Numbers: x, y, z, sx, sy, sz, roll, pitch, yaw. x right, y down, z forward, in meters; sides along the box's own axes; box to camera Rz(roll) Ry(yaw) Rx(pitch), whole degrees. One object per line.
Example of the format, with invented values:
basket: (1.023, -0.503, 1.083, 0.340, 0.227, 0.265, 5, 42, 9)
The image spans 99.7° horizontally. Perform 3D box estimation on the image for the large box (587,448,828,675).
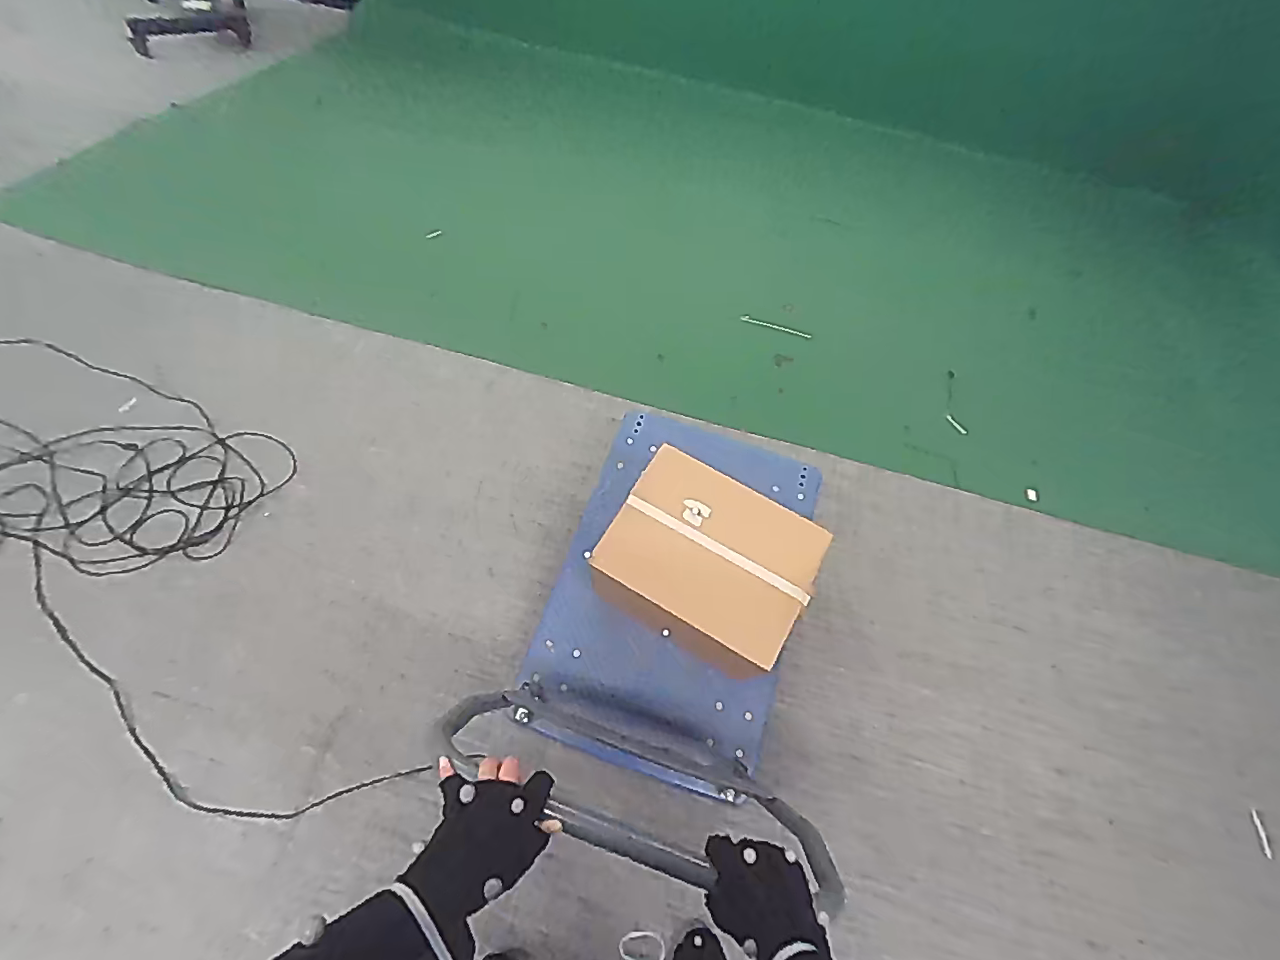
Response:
large box: (0.139, 0.198, 1.222, 0.408, 0.320, 0.320, 29, 69, 11)
